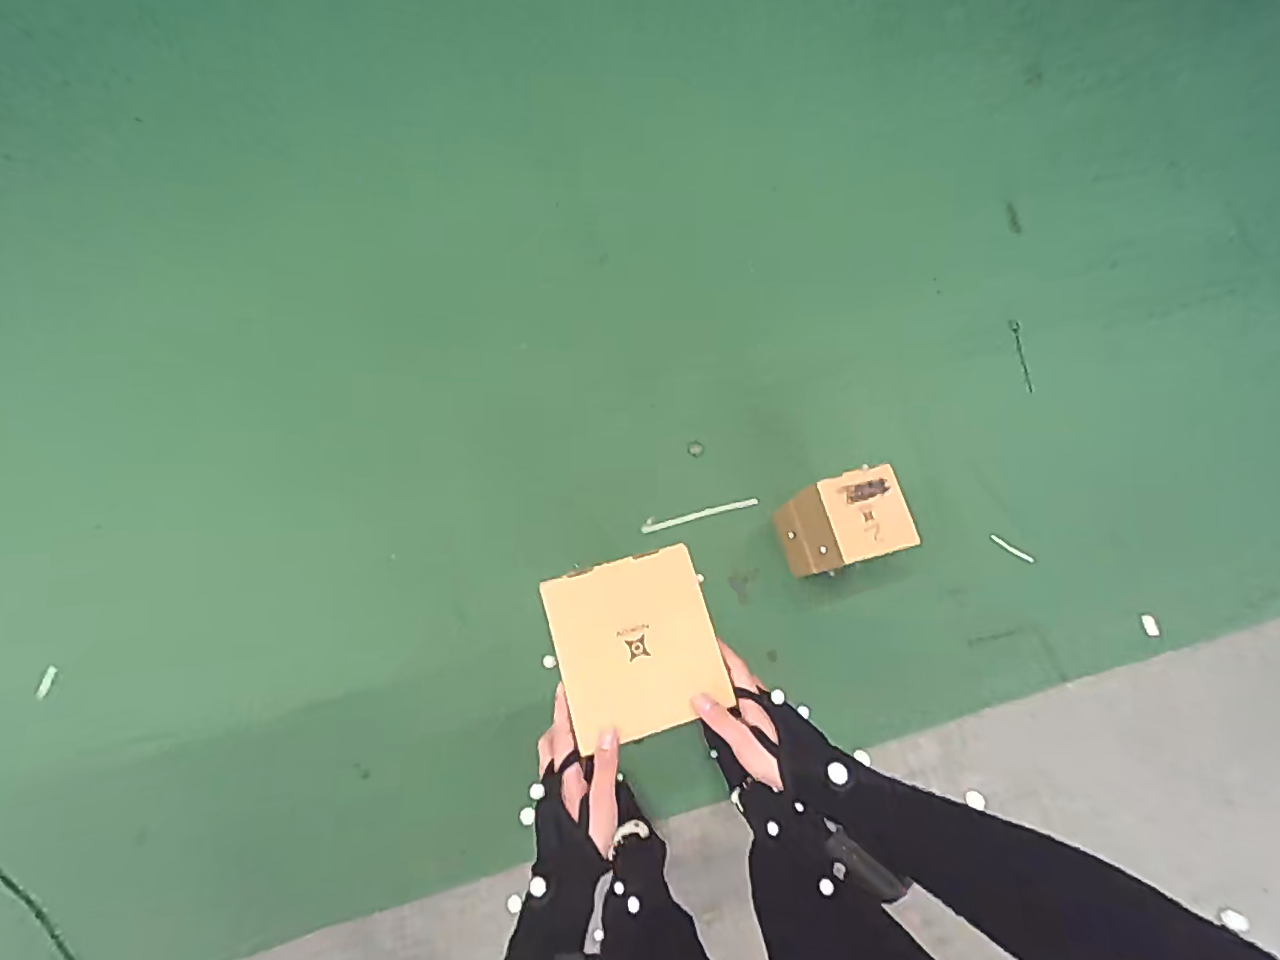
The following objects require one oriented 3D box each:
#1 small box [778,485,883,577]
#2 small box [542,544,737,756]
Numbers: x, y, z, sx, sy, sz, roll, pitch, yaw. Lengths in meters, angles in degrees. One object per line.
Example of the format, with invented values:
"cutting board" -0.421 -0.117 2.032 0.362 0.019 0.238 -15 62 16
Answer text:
"small box" 0.456 0.130 1.325 0.168 0.176 0.179 -13 76 -4
"small box" -0.006 0.191 0.629 0.168 0.176 0.179 -15 73 -9
